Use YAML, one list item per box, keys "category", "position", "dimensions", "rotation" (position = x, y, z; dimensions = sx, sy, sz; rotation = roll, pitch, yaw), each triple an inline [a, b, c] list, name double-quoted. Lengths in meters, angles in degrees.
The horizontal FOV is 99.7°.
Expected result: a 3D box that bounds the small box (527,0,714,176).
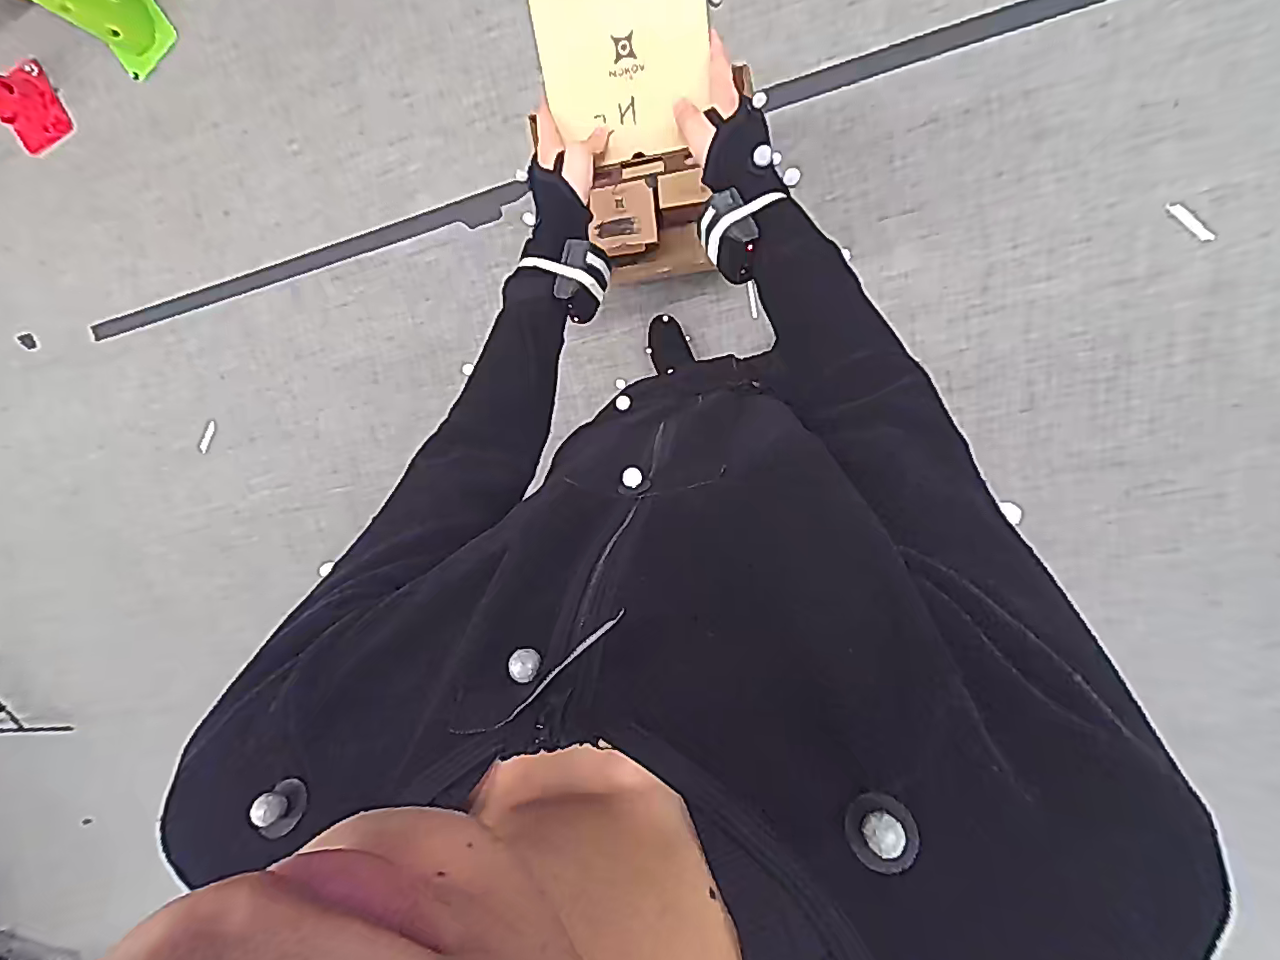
- category: "small box"
  position: [-0.010, -0.446, 0.585]
  dimensions: [0.168, 0.176, 0.179]
  rotation: [-5, 114, 11]
